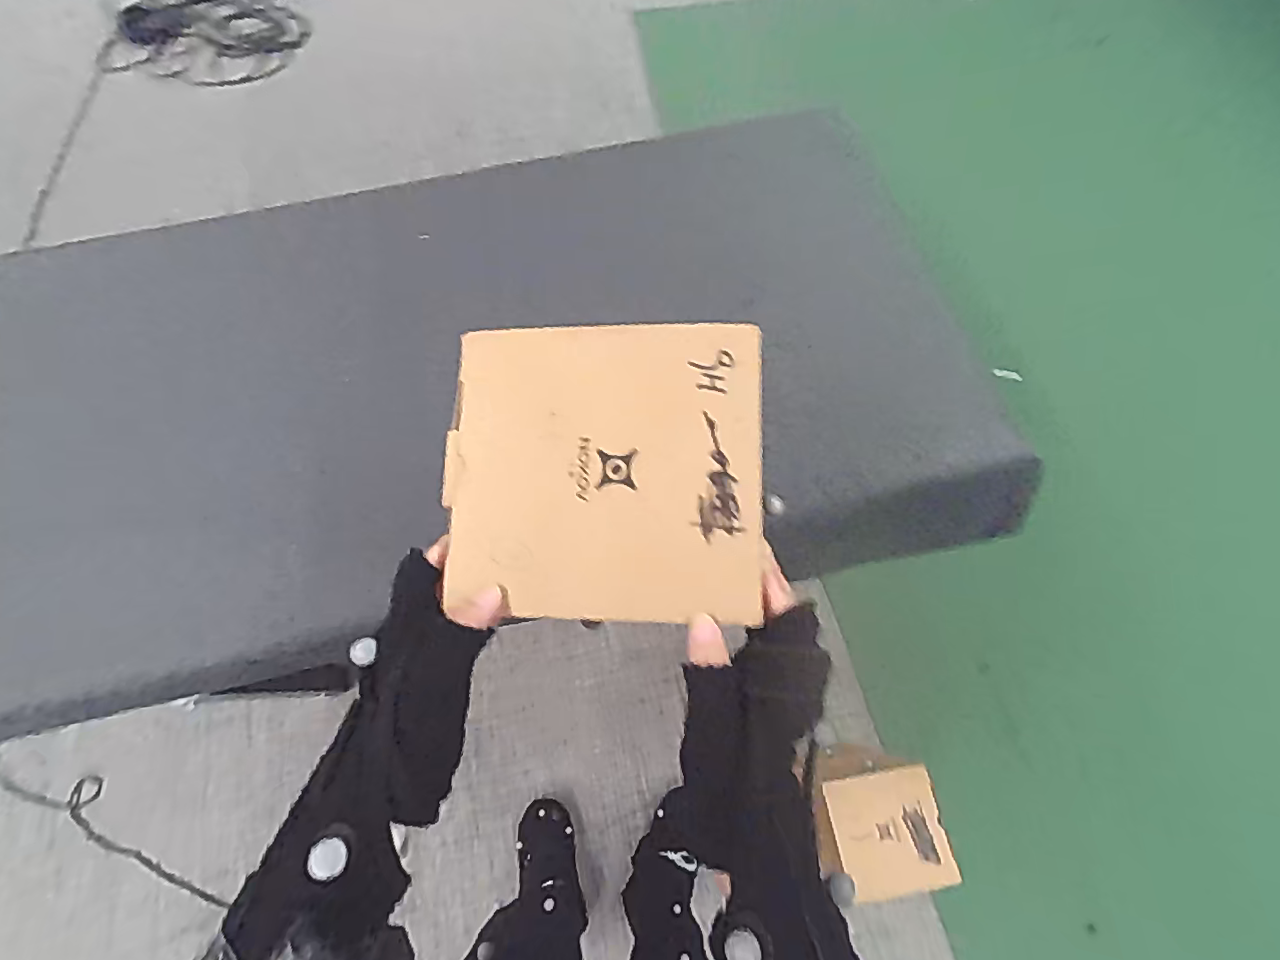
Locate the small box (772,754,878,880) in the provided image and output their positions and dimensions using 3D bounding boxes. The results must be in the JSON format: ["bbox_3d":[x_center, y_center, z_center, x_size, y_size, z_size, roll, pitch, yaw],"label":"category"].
[{"bbox_3d":[0.379,0.651,1.064,0.179,0.176,0.168,-10,68,-3],"label":"small box"}]

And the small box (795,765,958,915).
[{"bbox_3d":[0.383,0.591,0.910,0.179,0.176,0.168,-8,68,-2],"label":"small box"}]
